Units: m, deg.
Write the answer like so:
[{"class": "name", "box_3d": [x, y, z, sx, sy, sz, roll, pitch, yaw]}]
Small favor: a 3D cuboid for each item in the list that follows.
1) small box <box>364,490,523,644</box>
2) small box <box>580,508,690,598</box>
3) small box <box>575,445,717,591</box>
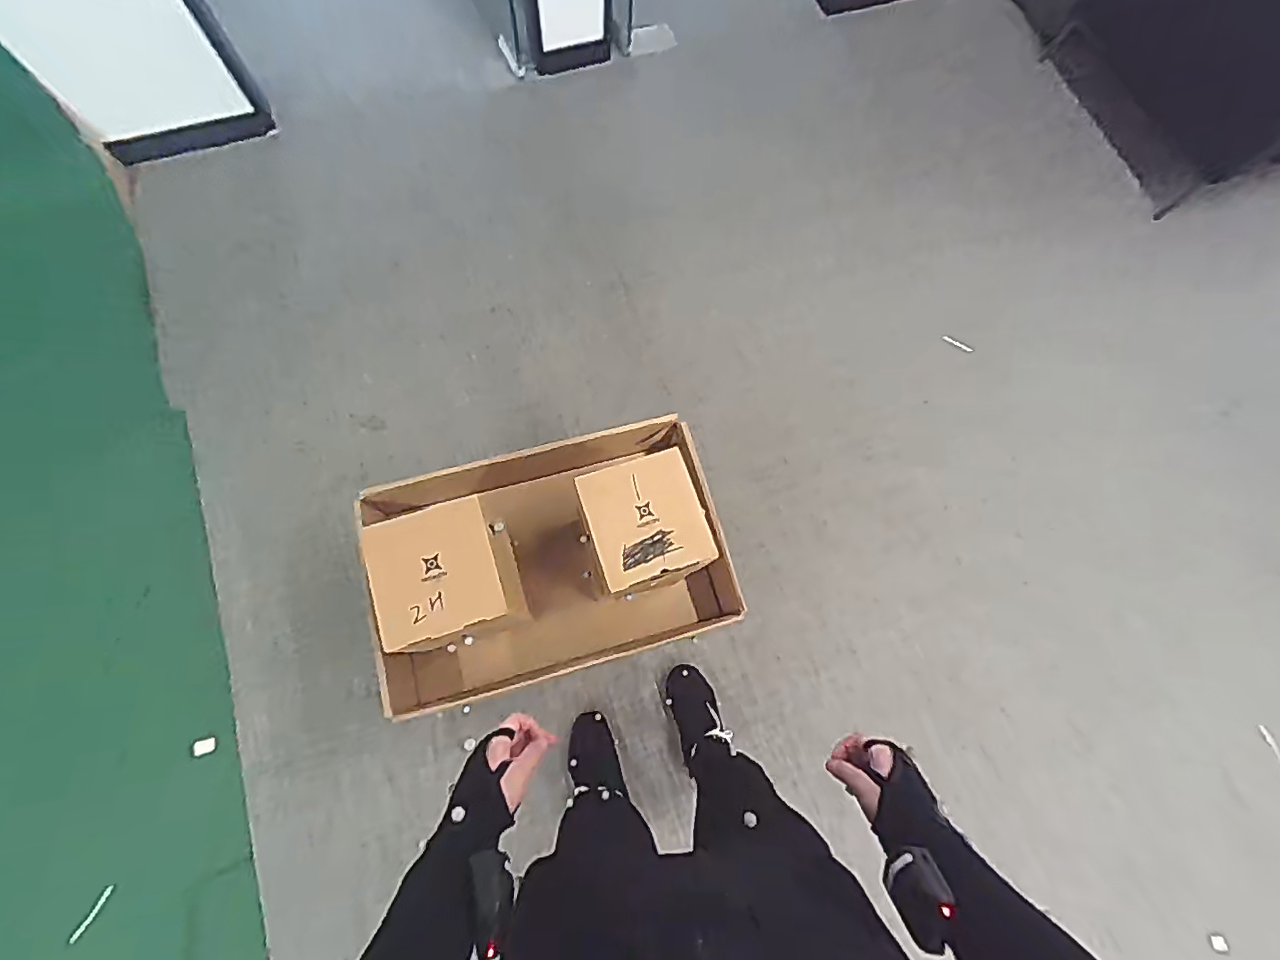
[{"class": "small box", "box_3d": [-0.283, 0.137, 0.806, 0.168, 0.176, 0.179, -16, 75, -8]}, {"class": "small box", "box_3d": [-0.018, 0.111, 1.005, 0.168, 0.176, 0.179, -12, 75, -8]}, {"class": "small box", "box_3d": [0.003, 0.069, 0.848, 0.168, 0.176, 0.179, -16, 76, -9]}]
